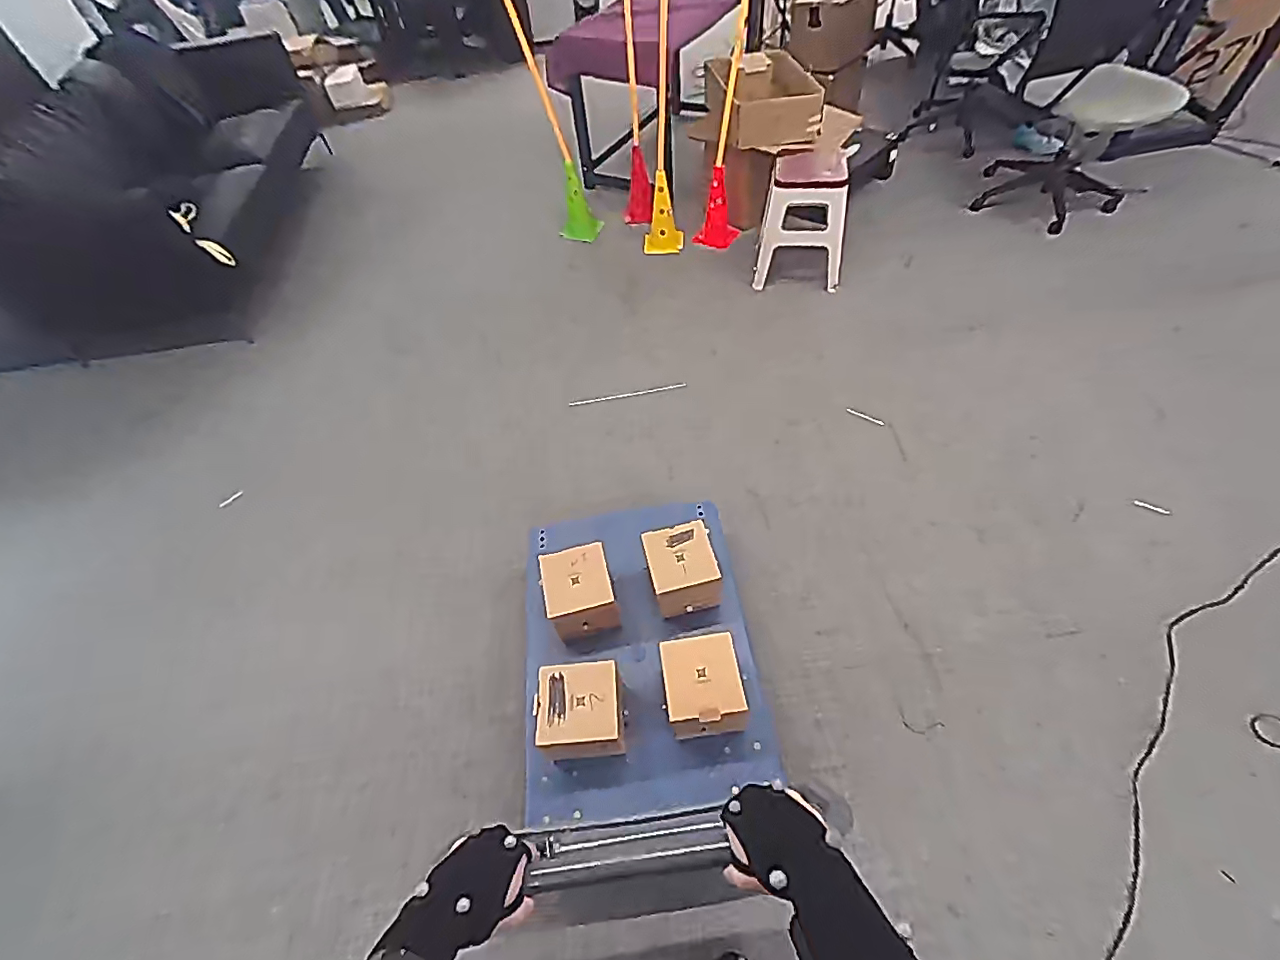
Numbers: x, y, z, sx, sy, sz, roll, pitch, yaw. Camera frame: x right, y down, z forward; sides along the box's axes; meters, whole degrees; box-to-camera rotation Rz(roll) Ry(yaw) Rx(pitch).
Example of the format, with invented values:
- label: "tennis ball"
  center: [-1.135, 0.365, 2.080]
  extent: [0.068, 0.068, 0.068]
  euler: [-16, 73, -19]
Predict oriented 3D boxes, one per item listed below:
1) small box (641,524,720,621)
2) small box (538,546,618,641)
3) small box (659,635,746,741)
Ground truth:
- label: "small box"
  center: [0.103, 0.244, 1.416]
  extent: [0.168, 0.176, 0.179]
  euler: [-14, 54, -3]
- label: "small box"
  center: [-0.157, 0.300, 1.402]
  extent: [0.168, 0.176, 0.179]
  euler: [-13, 53, -5]
- label: "small box"
  center: [0.138, 0.478, 1.239]
  extent: [0.168, 0.176, 0.179]
  euler: [-9, 54, -1]
